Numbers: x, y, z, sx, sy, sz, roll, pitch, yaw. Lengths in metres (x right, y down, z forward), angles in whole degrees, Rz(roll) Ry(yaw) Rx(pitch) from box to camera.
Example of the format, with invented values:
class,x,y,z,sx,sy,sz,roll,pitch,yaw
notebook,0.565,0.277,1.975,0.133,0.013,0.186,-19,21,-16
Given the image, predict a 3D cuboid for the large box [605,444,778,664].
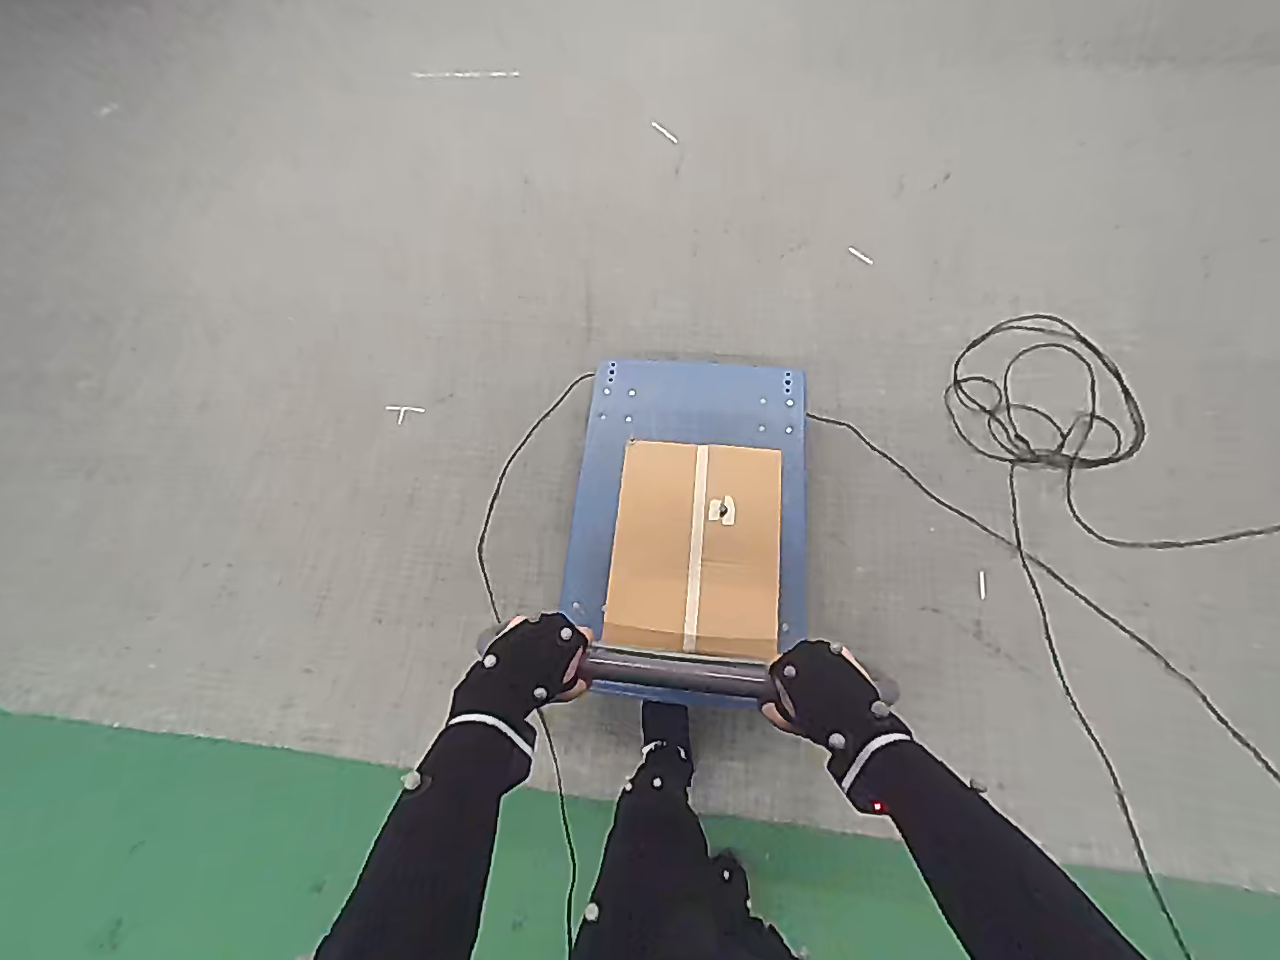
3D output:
class,x,y,z,sx,sy,sz,roll,pitch,yaw
large box,0.117,0.173,1.168,0.320,0.320,0.408,5,69,5
